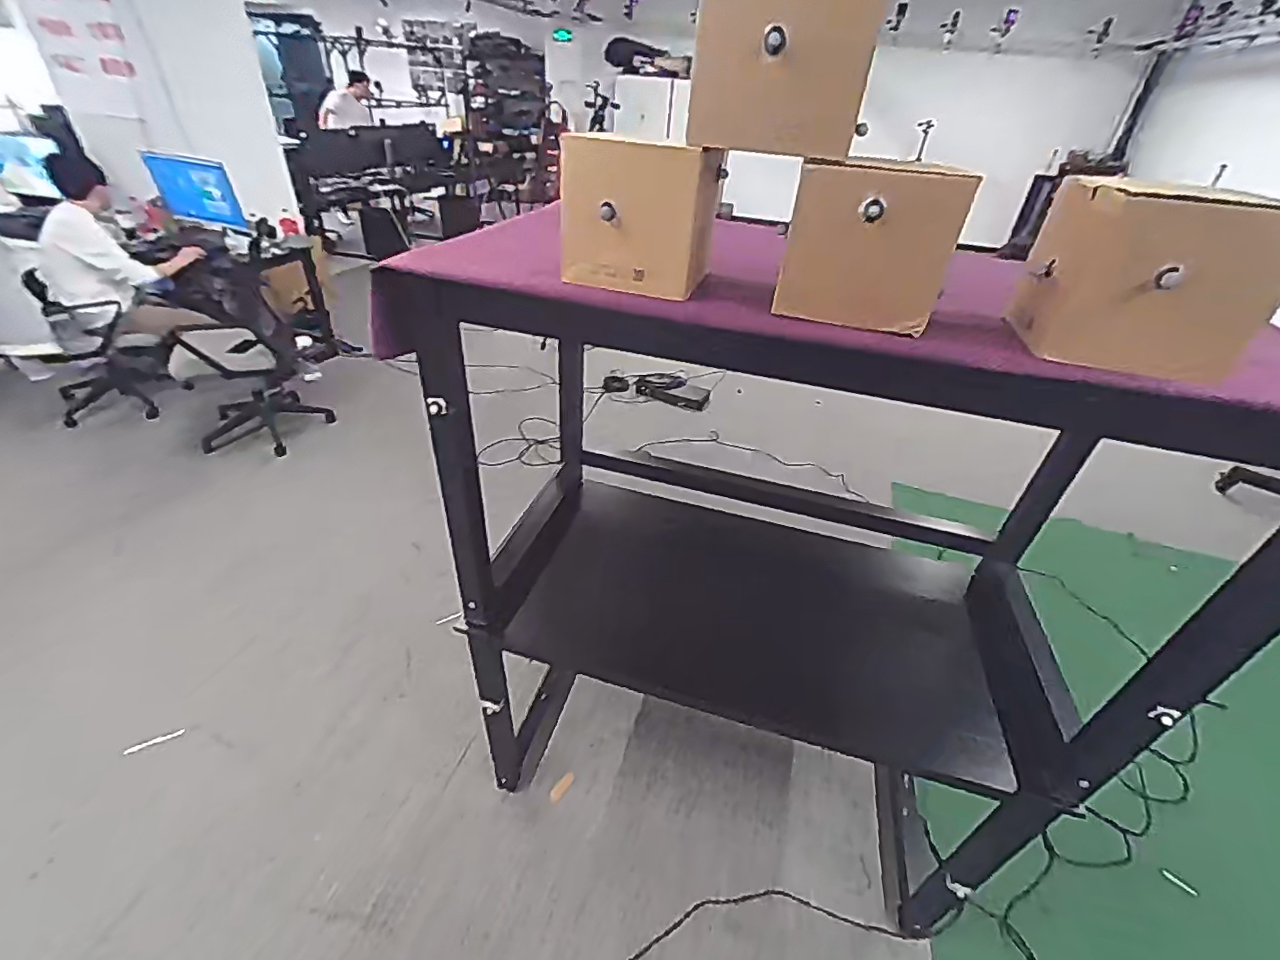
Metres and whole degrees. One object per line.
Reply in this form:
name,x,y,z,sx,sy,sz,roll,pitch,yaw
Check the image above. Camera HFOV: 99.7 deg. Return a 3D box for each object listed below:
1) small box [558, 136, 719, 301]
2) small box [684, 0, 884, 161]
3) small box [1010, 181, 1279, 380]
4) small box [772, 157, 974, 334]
small box,0.003,-0.345,0.709,0.168,0.176,0.179,12,34,10
small box,0.155,-0.455,0.596,0.179,0.176,0.168,11,35,10
small box,0.545,-0.224,0.599,0.179,0.176,0.168,11,37,12
small box,0.267,-0.288,0.659,0.179,0.176,0.168,13,35,12
